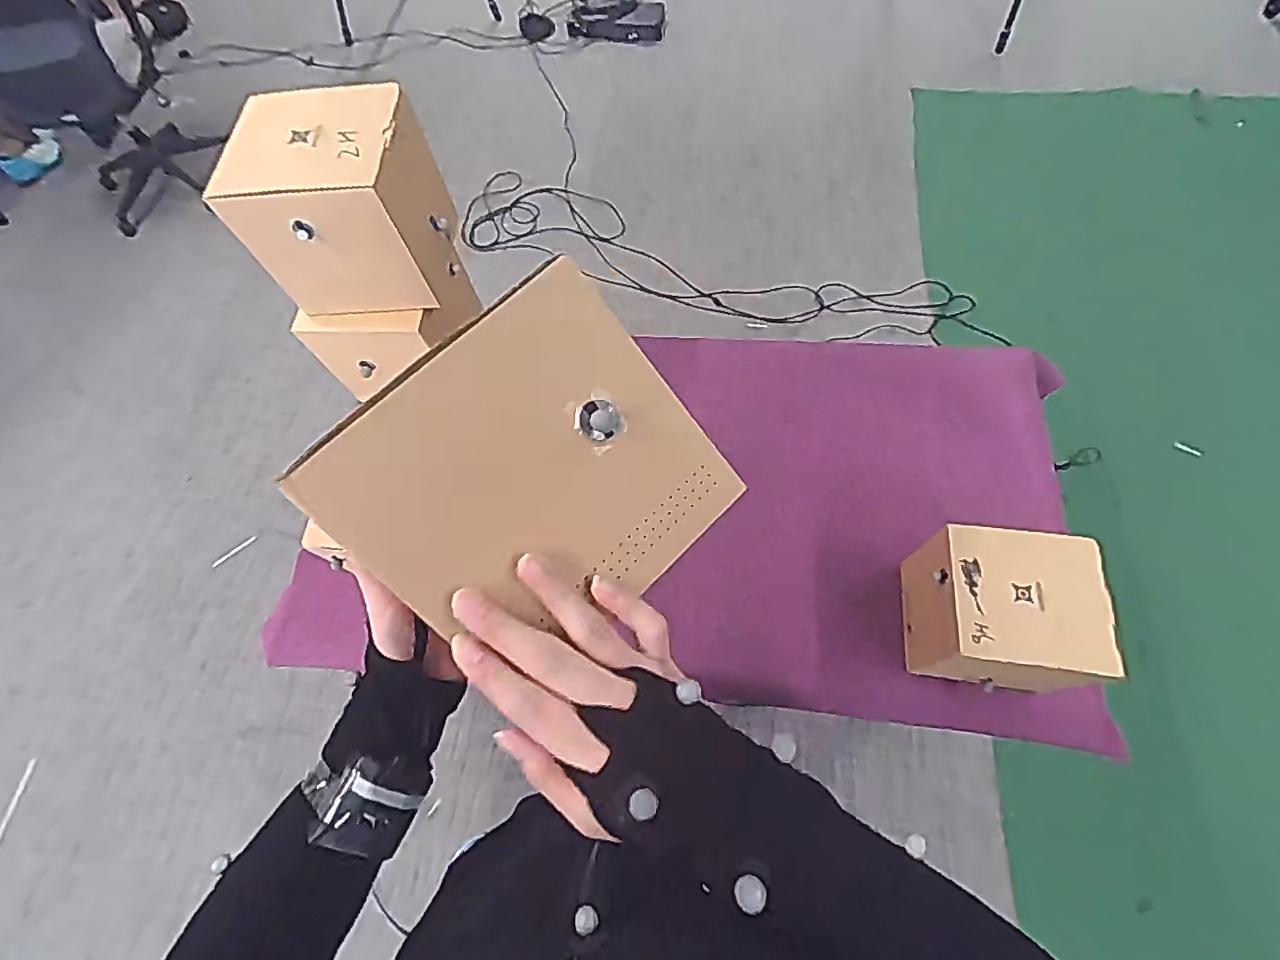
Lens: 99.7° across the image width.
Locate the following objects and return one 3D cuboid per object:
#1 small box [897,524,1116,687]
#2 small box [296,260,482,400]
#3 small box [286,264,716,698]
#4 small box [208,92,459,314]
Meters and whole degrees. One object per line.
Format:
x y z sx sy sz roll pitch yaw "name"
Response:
0.464 0.173 0.717 0.179 0.176 0.168 7 65 7 "small box"
-0.340 -0.222 0.773 0.168 0.176 0.179 1 65 4 "small box"
-0.074 -0.002 0.356 0.179 0.168 0.176 -43 106 -10 "small box"
-0.336 -0.313 0.634 0.179 0.176 0.168 -2 65 2 "small box"
